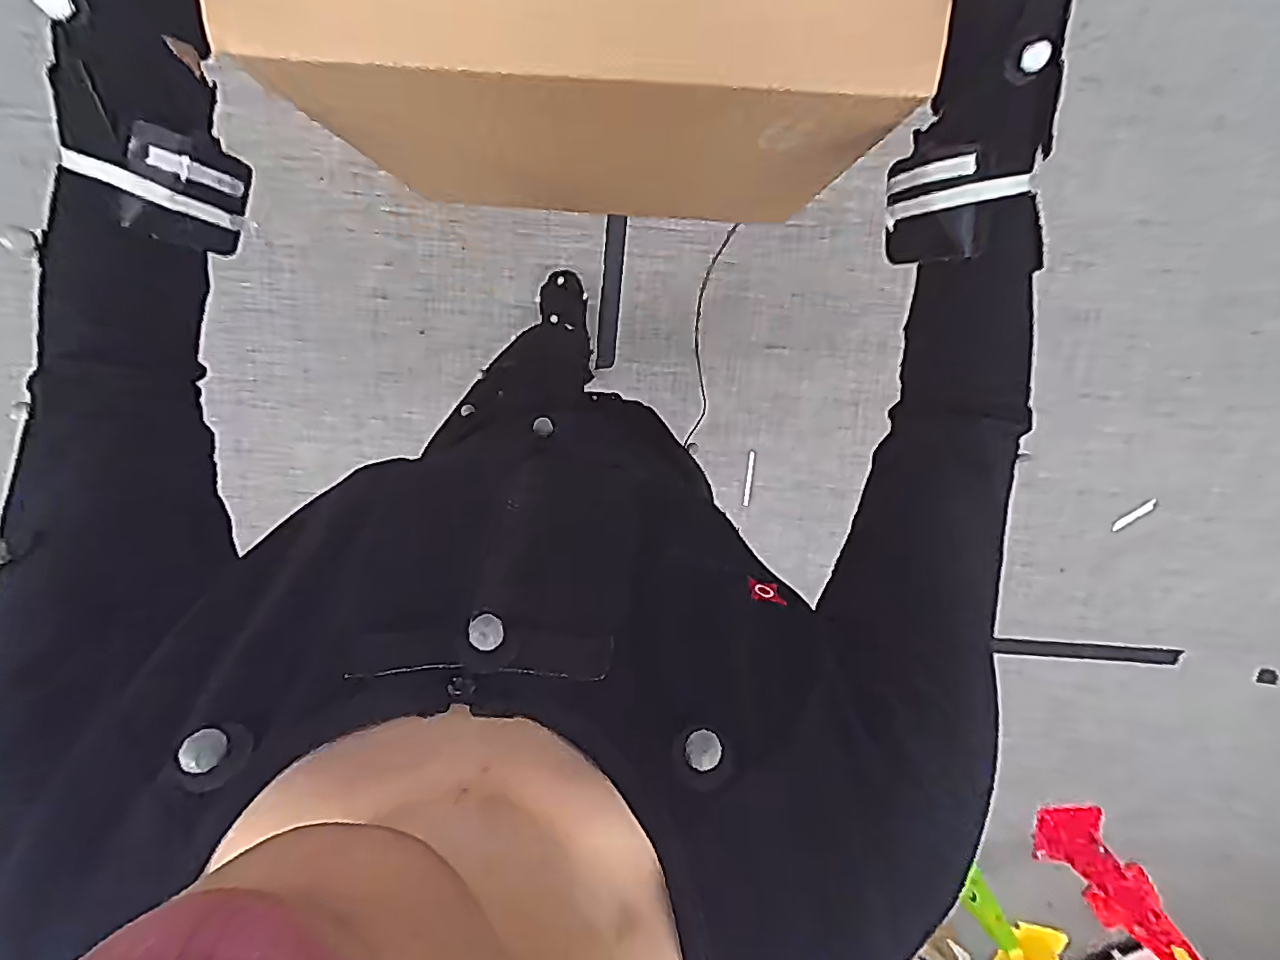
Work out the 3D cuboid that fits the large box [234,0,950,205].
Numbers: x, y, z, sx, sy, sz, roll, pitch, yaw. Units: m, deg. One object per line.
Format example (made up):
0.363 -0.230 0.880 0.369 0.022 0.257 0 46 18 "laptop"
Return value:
-0.025 -0.422 0.415 0.408 0.320 0.320 2 104 -2 "large box"
